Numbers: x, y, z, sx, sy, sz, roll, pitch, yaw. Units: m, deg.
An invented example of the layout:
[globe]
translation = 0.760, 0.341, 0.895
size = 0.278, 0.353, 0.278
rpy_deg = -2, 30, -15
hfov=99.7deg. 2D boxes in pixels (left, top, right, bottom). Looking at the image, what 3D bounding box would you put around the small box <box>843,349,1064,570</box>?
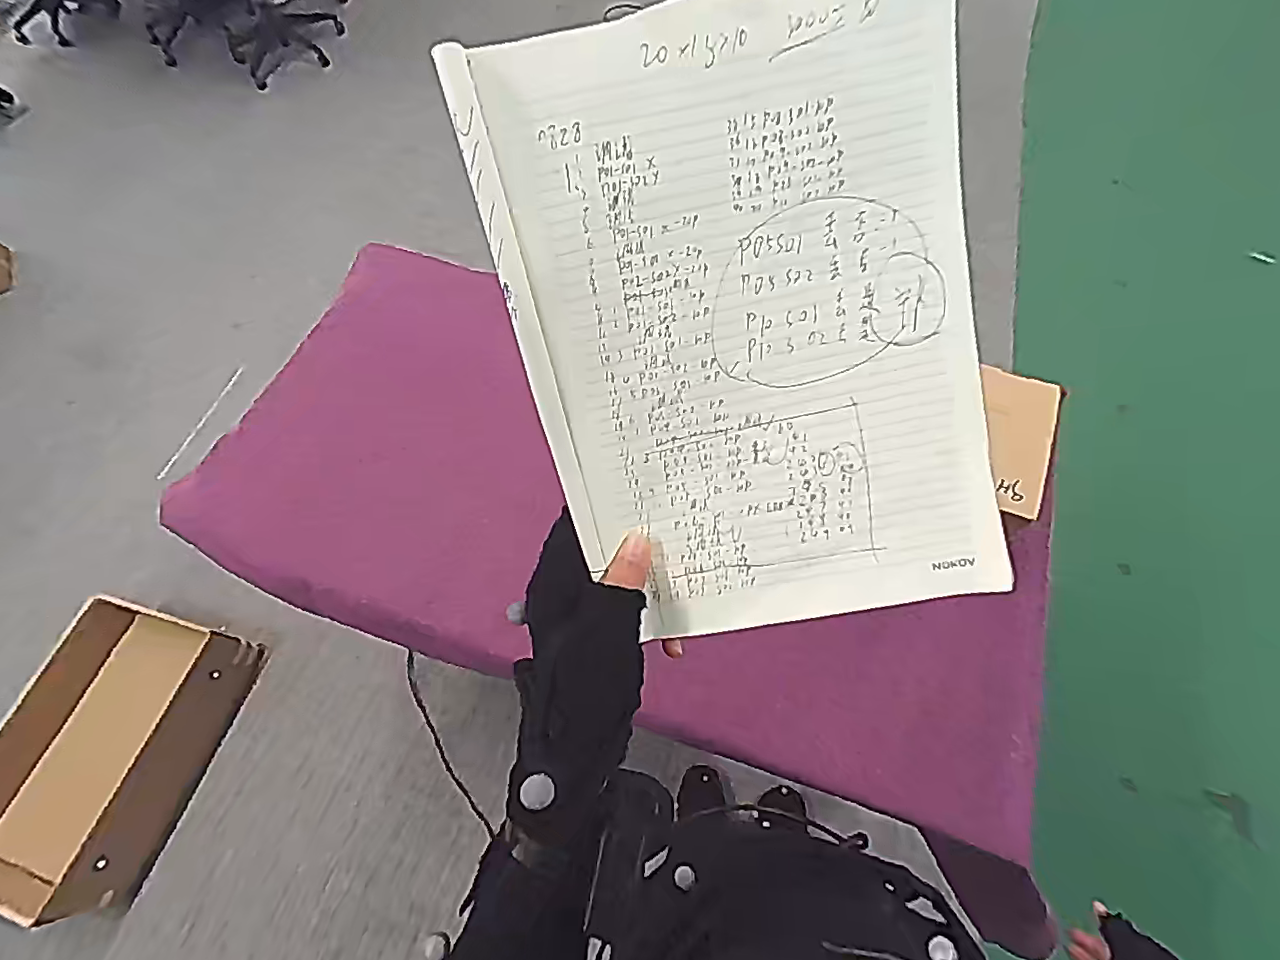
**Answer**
[small box]
translation = 0.361, -0.019, 0.649
size = 0.168, 0.176, 0.179
rpy_deg = 21, 68, 17
